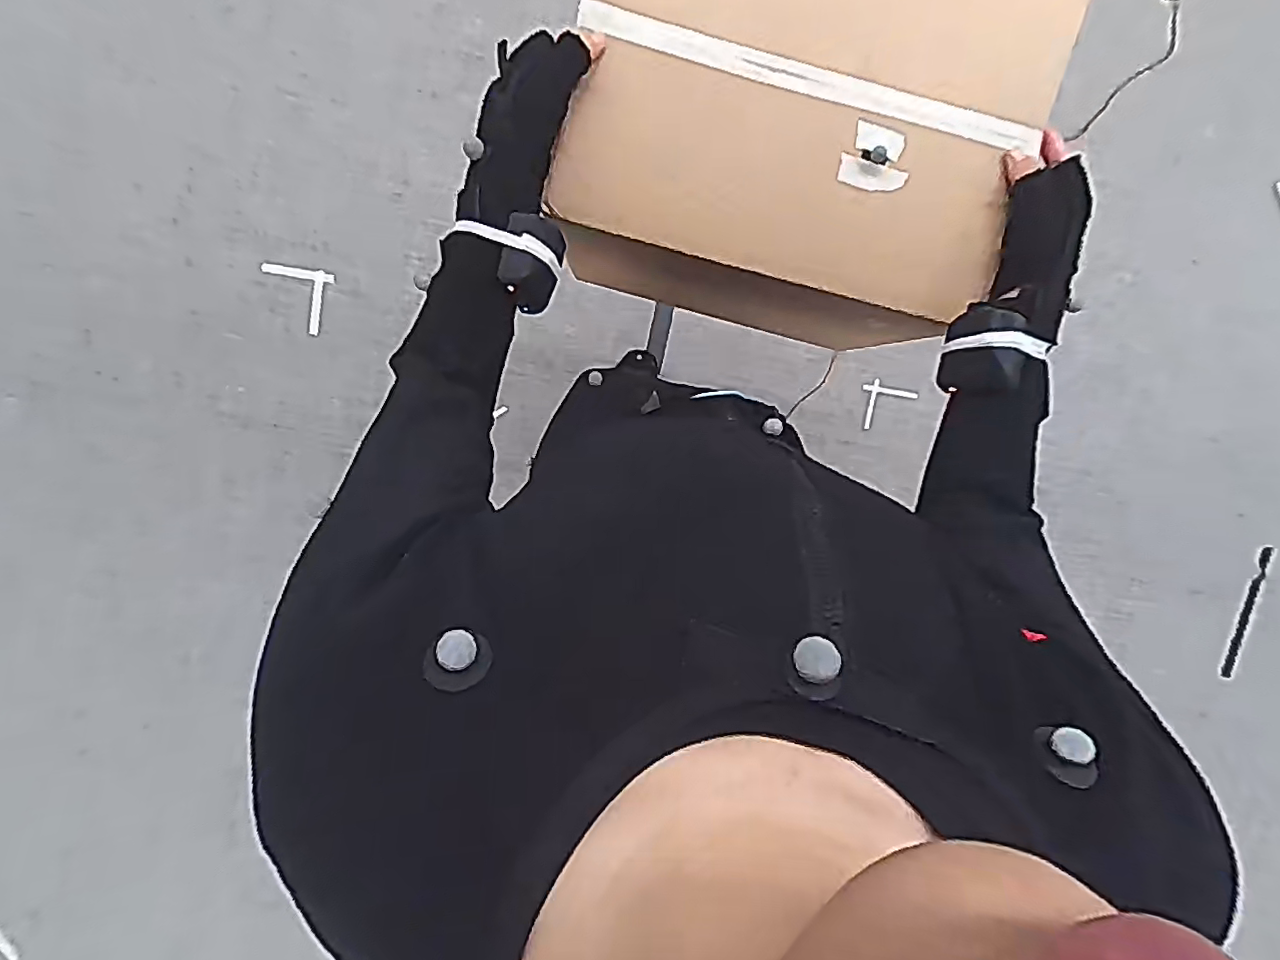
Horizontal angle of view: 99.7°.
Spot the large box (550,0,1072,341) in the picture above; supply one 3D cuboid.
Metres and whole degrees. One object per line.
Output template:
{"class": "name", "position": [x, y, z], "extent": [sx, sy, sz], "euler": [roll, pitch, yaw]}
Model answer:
{"class": "large box", "position": [0.138, -0.363, 0.608], "extent": [0.408, 0.320, 0.320], "euler": [13, 101, -5]}
